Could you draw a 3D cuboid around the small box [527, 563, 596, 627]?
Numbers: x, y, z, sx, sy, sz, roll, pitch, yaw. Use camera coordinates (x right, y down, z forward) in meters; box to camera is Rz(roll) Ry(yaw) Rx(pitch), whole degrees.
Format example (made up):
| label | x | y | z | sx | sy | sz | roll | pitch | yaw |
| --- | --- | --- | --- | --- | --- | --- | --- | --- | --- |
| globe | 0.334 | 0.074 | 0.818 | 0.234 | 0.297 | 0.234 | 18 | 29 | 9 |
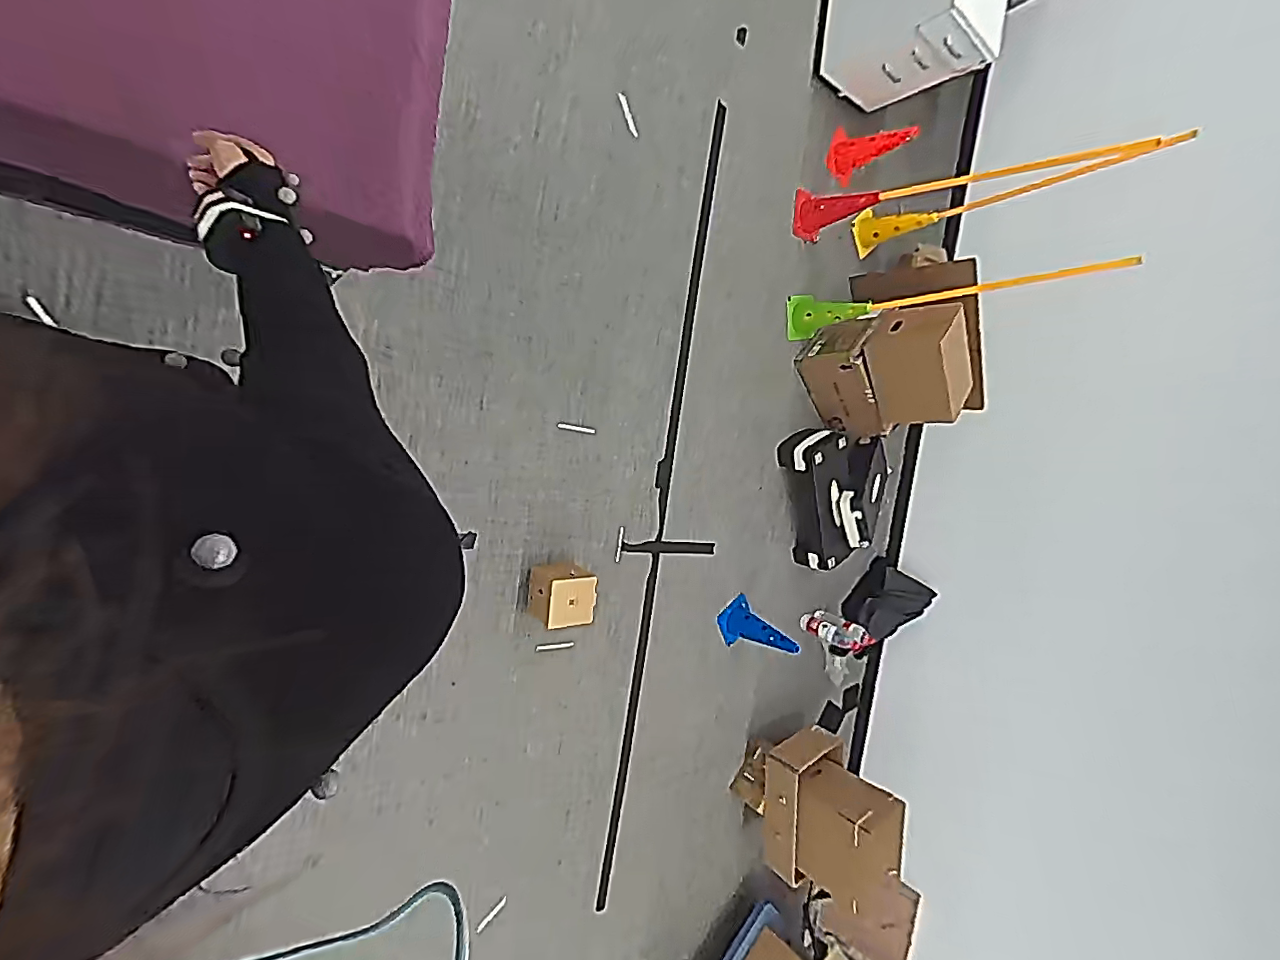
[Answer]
| label | x | y | z | sx | sy | sz | roll | pitch | yaw |
| --- | --- | --- | --- | --- | --- | --- | --- | --- | --- |
| small box | -0.274 | 0.391 | 1.861 | 0.179 | 0.176 | 0.168 | 2 | 98 | -38 |
